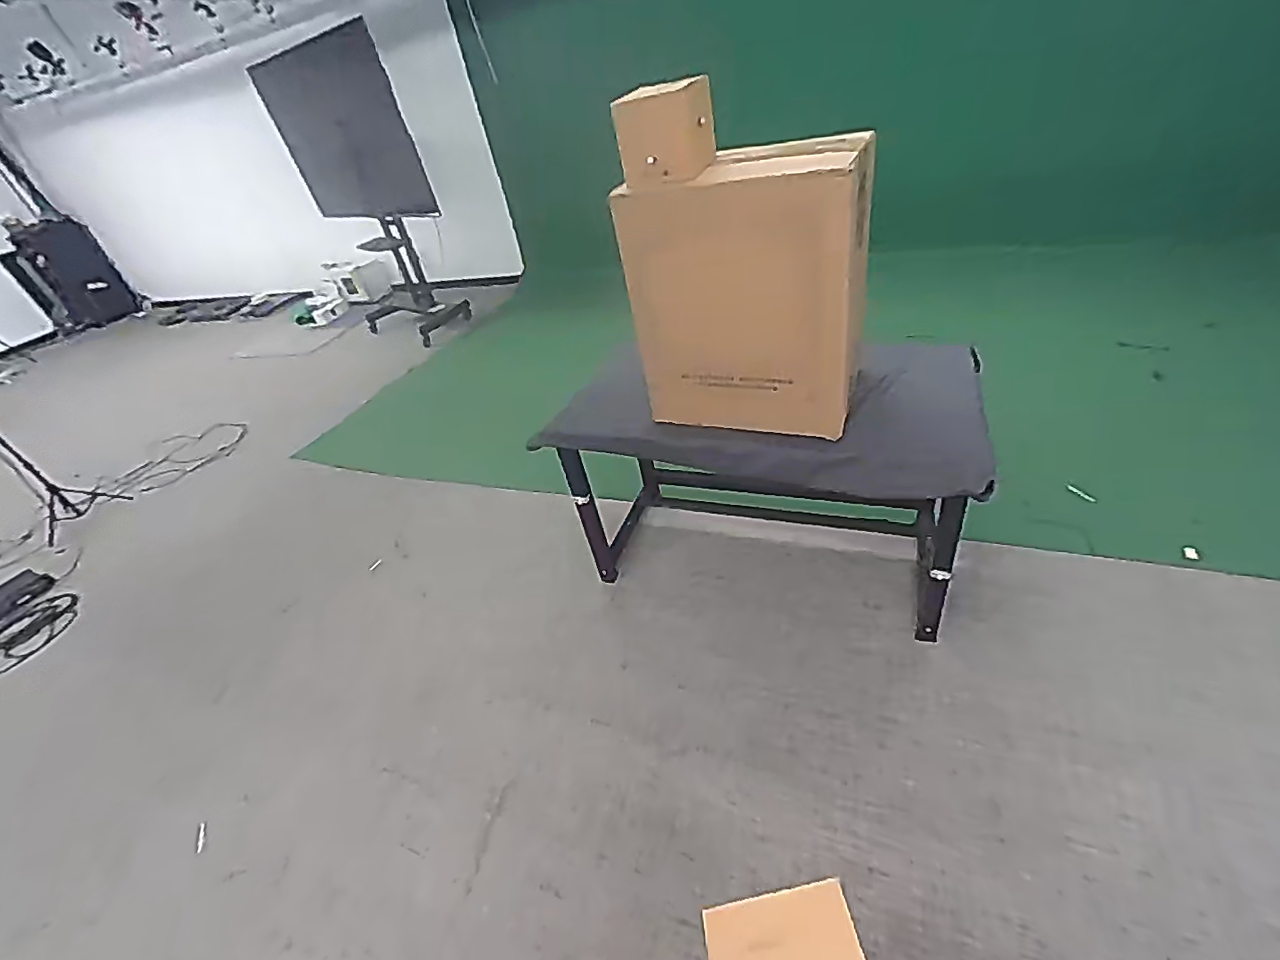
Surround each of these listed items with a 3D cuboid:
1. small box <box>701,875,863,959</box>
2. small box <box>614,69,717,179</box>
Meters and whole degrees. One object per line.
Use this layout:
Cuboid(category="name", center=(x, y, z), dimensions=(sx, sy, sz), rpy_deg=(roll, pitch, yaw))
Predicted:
Cuboid(category="small box", center=(0.180, 0.590, 0.605), dimensions=(0.168, 0.176, 0.179), rpy_deg=(-17, 33, 4))
Cuboid(category="small box", center=(0.066, -0.786, 1.202), dimensions=(0.168, 0.176, 0.179), rpy_deg=(9, 45, 27))
